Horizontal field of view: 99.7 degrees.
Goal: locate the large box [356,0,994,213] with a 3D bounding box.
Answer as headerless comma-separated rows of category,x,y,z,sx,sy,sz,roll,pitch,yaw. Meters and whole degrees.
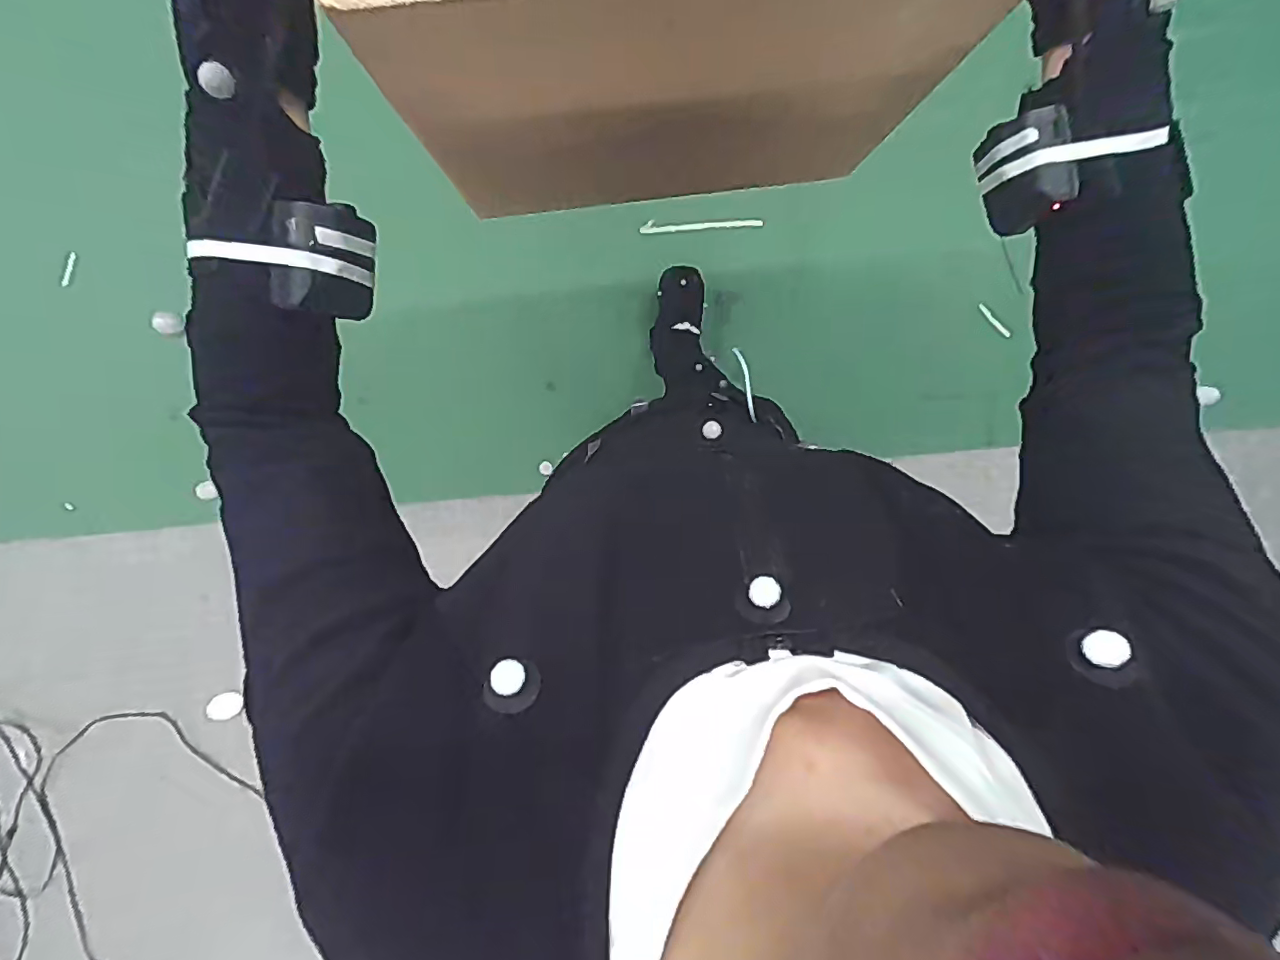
large box,0.014,-0.441,0.416,0.408,0.320,0.320,-8,99,-2
